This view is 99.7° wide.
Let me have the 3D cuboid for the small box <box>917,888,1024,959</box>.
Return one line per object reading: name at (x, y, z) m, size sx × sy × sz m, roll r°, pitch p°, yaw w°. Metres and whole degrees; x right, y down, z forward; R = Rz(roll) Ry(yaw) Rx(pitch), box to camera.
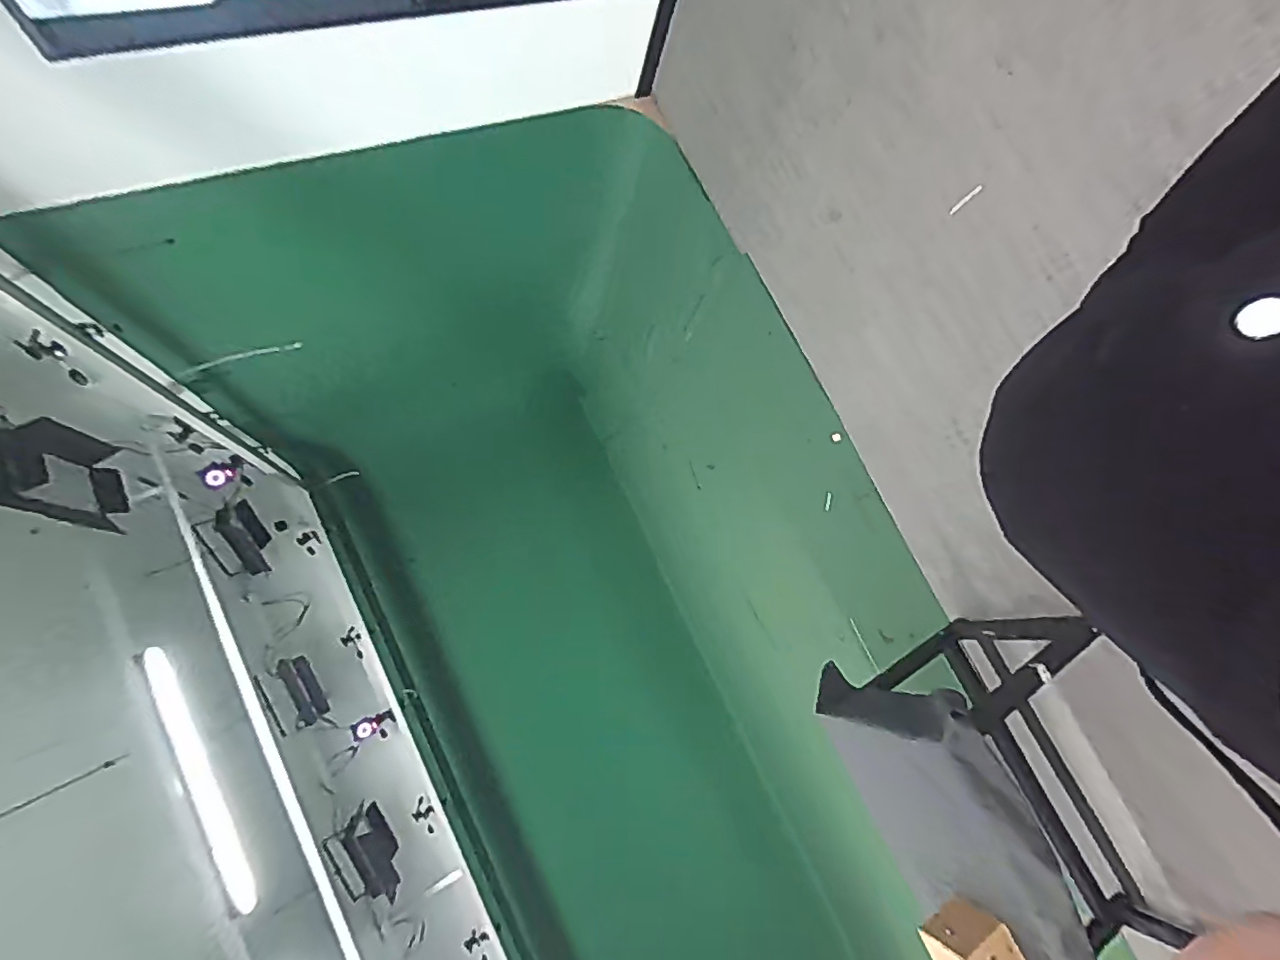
small box at (0.938, 1.304, 1.521) m, size 0.168 × 0.176 × 0.179 m, roll 64°, pitch 162°, yaw 8°
